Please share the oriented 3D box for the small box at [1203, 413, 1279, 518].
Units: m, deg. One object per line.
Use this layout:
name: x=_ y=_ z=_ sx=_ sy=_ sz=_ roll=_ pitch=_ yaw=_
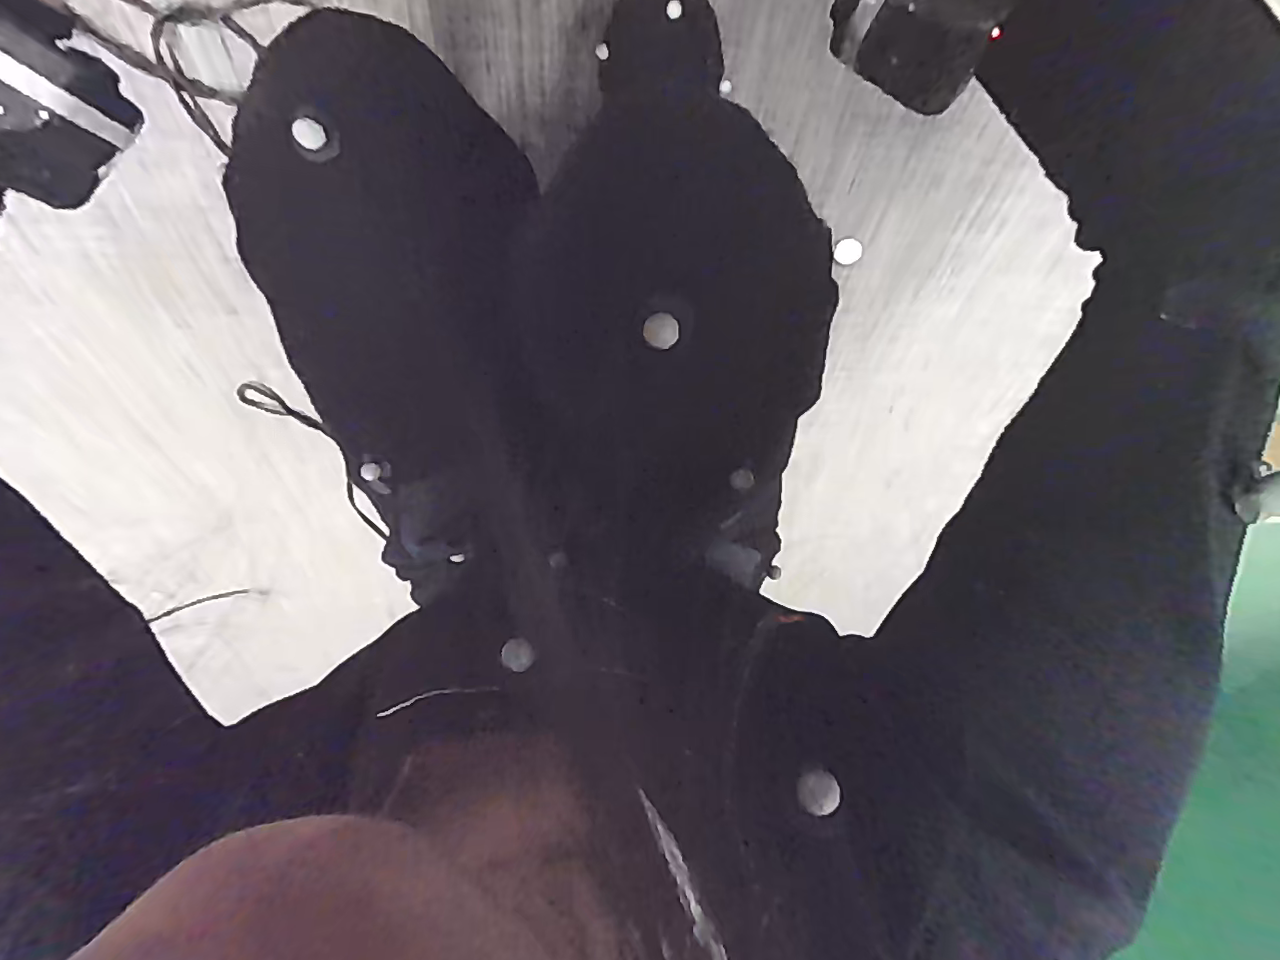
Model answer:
small box: x=1.426 y=-0.037 z=1.184 sx=0.179 sy=0.176 sz=0.168 roll=-4 pitch=141 yaw=-9
